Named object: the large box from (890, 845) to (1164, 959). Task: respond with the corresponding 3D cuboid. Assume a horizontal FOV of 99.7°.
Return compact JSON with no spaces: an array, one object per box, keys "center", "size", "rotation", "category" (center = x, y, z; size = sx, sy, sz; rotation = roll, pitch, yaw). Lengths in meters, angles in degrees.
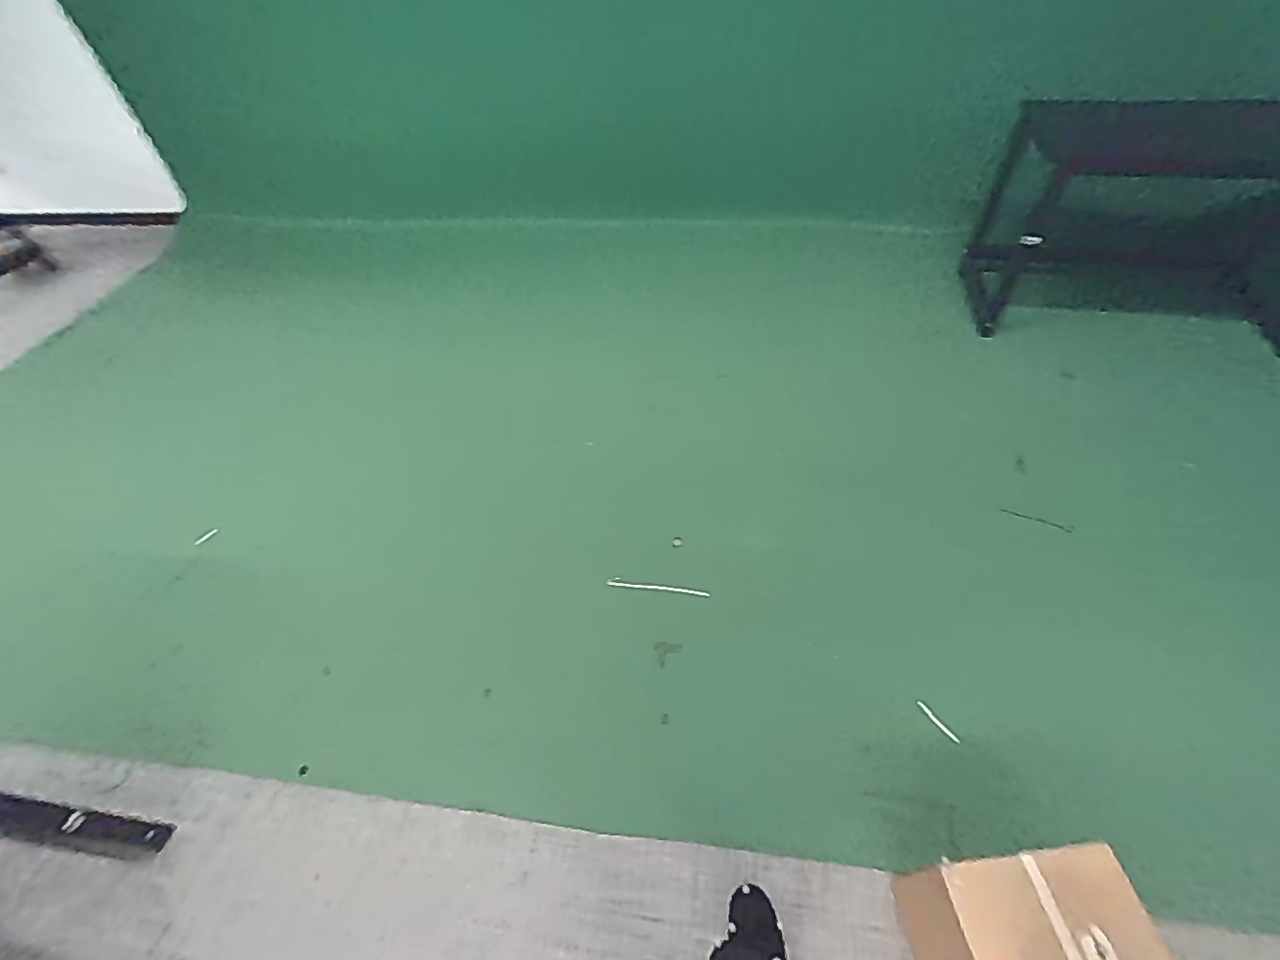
[{"center":[0.702,0.917,0.942],"size":[0.320,0.320,0.408],"rotation":[-6,48,-2],"category":"large box"}]
